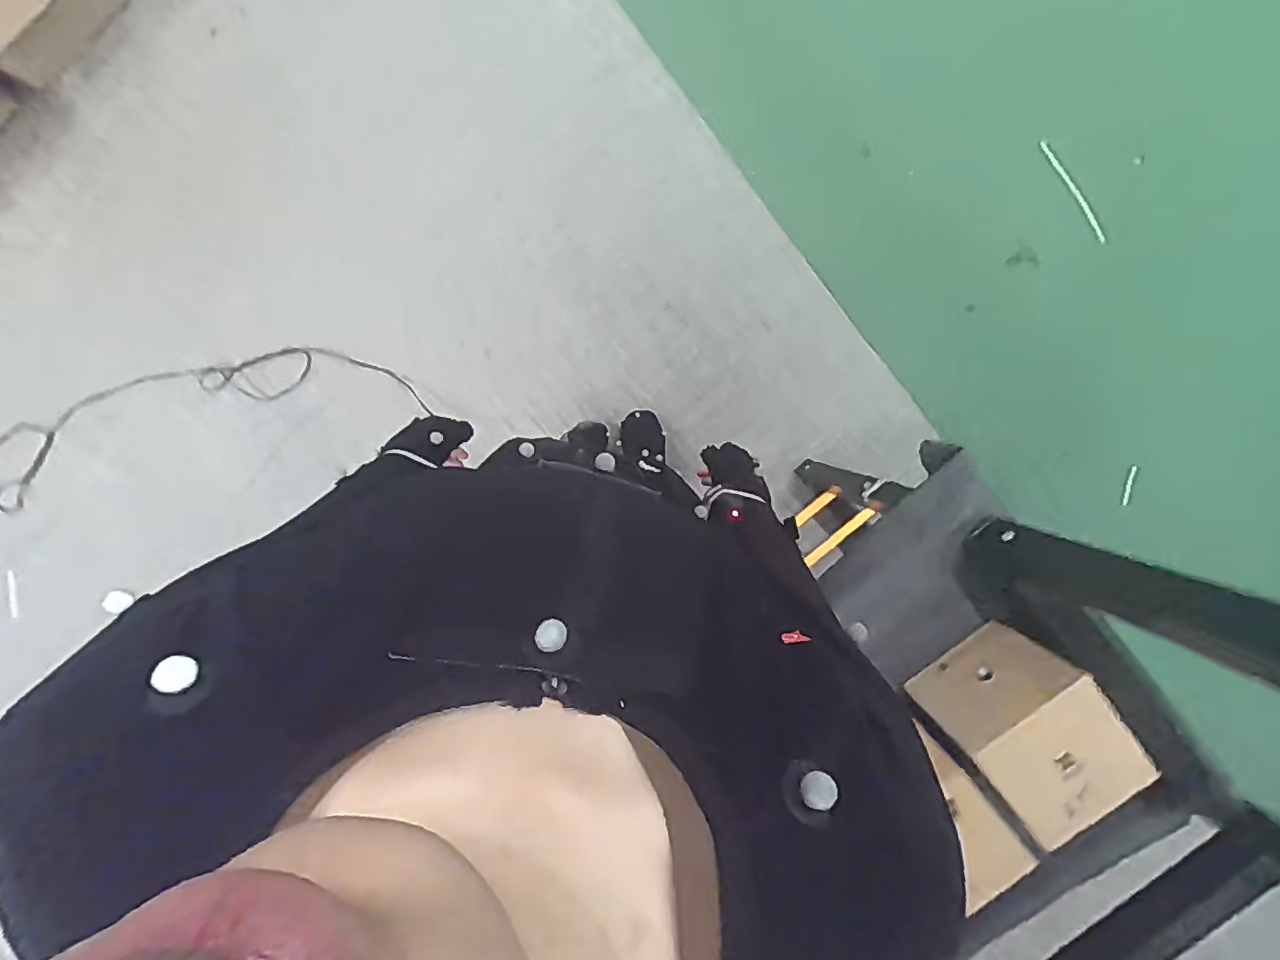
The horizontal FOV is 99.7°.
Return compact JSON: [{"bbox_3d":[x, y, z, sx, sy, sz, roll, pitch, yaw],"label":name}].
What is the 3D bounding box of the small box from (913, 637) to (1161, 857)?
[{"bbox_3d":[0.511,0.336,0.724,0.168,0.176,0.179,-38,98,5],"label":"small box"}]
